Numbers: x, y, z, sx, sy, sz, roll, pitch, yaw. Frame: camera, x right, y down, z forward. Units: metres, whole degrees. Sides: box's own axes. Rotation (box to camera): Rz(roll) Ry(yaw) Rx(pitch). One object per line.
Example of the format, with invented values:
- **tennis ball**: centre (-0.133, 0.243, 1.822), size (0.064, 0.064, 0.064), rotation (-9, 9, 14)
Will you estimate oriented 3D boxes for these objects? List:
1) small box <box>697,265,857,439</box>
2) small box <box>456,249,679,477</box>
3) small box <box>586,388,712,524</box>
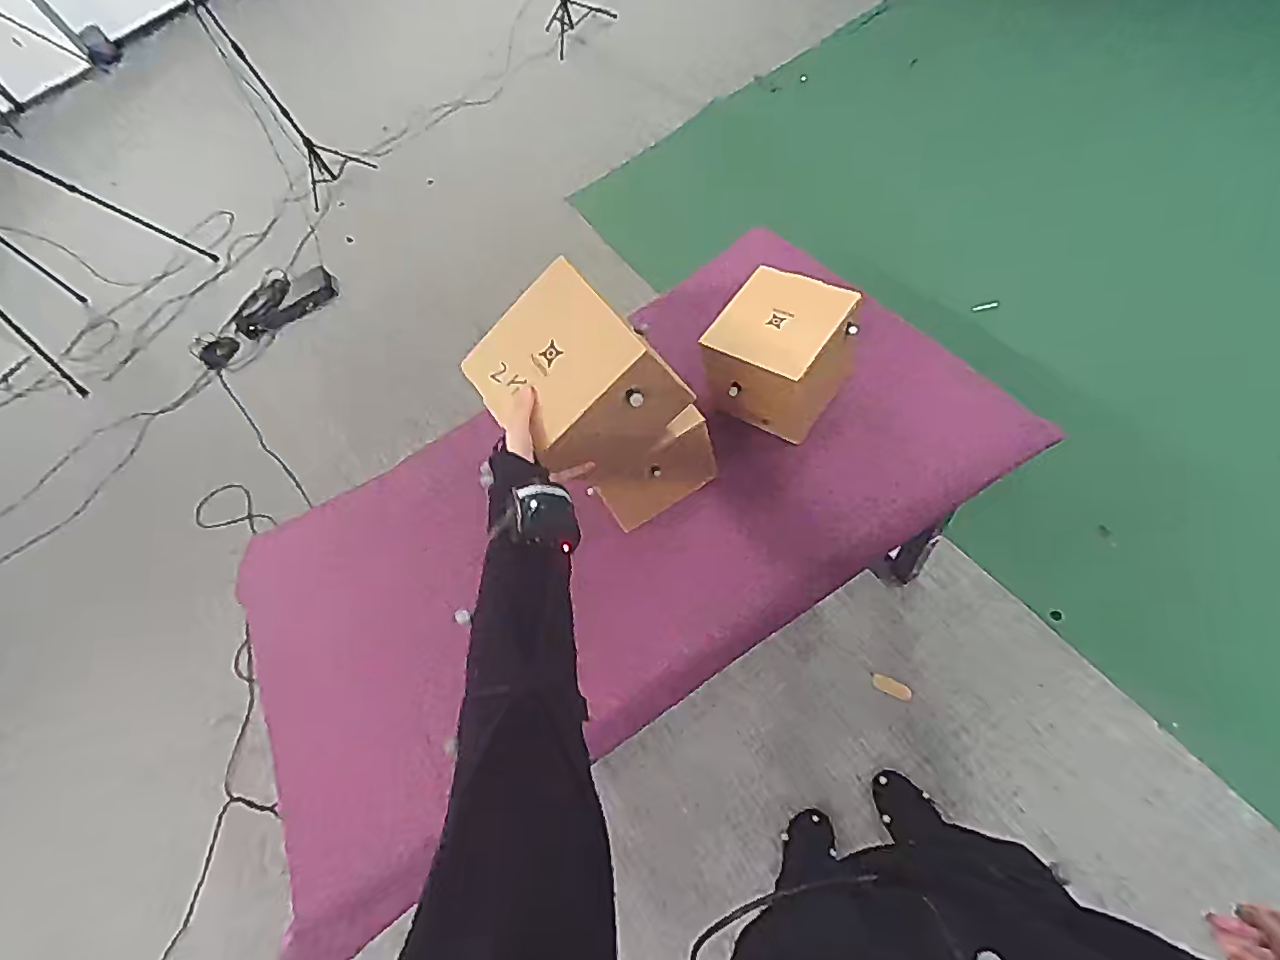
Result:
- **small box**: centre (0.214, -0.193, 0.839), size (0.168, 0.176, 0.179), rotation (30, 72, 28)
- **small box**: centre (-0.072, -0.124, 0.645), size (0.179, 0.176, 0.168), rotation (-43, 68, 12)
- **small box**: centre (-0.009, -0.060, 0.823), size (0.179, 0.176, 0.168), rotation (-30, 59, -3)
